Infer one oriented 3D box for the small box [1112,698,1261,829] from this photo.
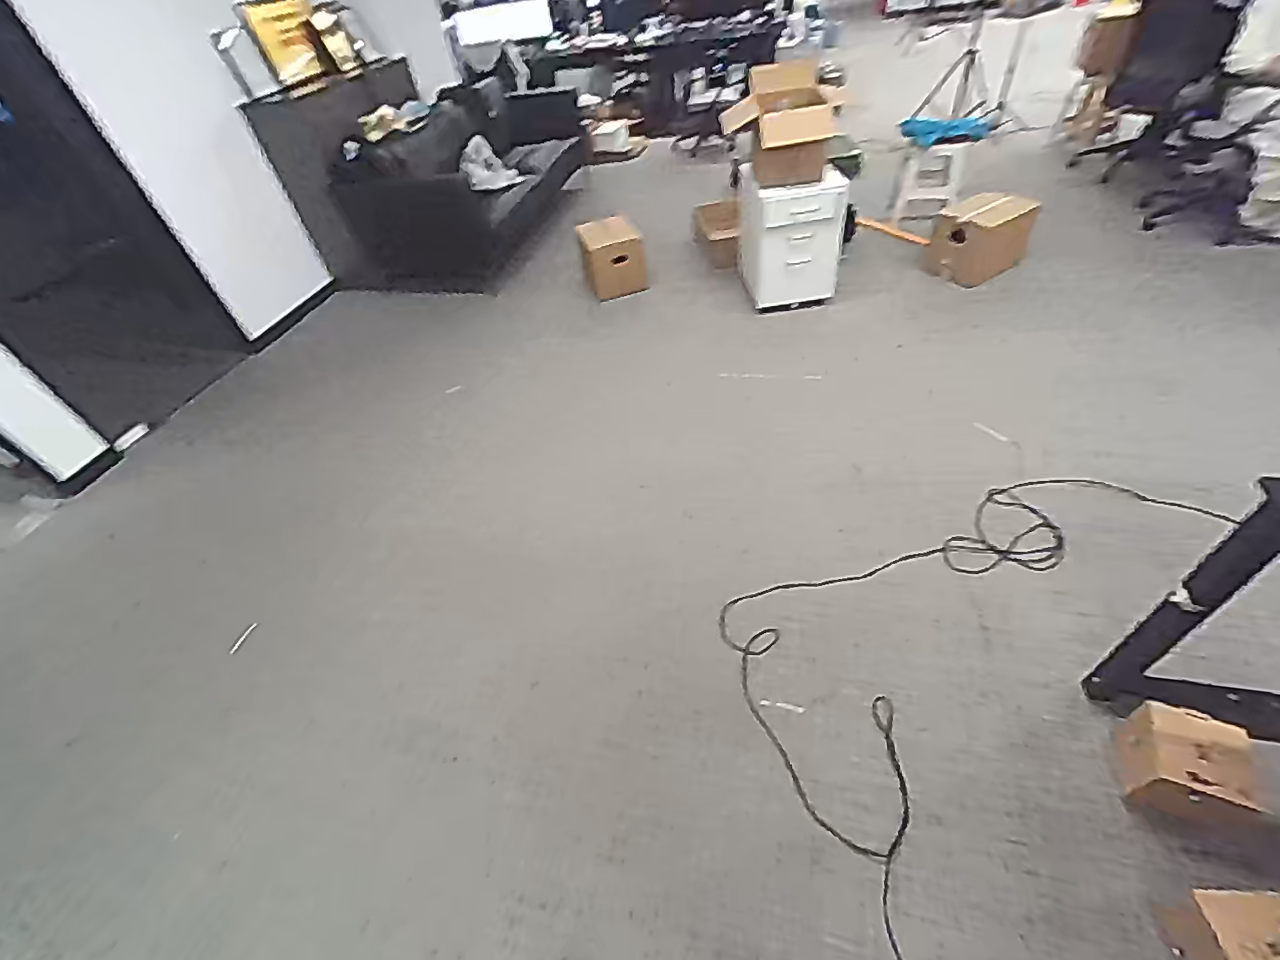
[{"bbox_3d":[1.178,0.621,1.185,0.168,0.176,0.179,14,48,23],"label":"small box"}]
